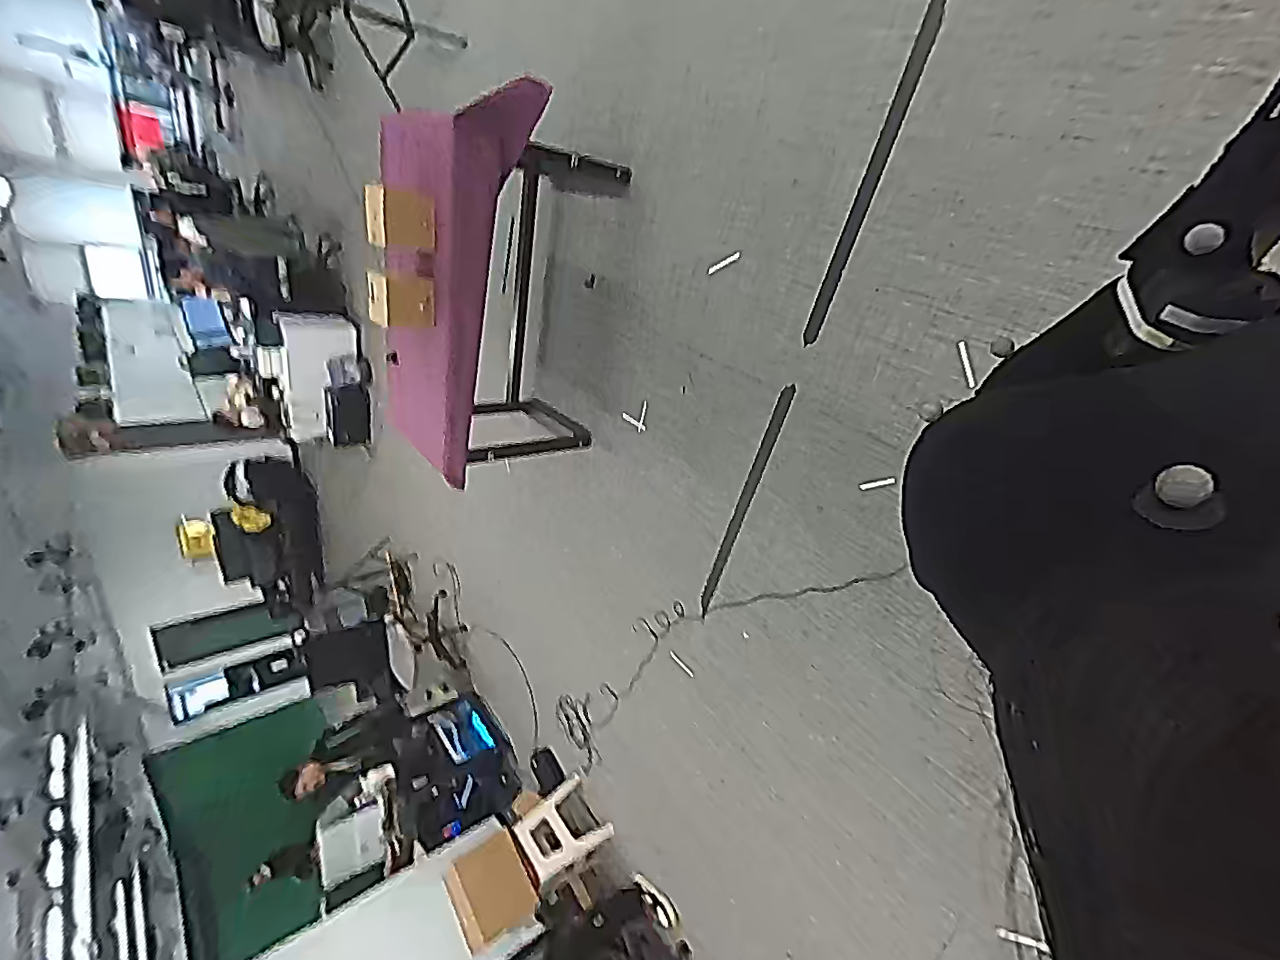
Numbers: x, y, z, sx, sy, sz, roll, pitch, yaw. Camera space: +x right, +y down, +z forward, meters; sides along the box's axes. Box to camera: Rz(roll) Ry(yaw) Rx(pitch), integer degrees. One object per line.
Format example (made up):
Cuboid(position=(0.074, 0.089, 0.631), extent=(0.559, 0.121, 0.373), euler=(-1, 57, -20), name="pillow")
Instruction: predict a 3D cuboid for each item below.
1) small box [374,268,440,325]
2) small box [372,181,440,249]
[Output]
Cuboid(position=(-0.831, -0.653, 1.929), extent=(0.179, 0.176, 0.168), euler=(30, 121, 40), name="small box")
Cuboid(position=(-0.786, -0.889, 1.819), extent=(0.168, 0.176, 0.179), euler=(32, 122, 41), name="small box")
